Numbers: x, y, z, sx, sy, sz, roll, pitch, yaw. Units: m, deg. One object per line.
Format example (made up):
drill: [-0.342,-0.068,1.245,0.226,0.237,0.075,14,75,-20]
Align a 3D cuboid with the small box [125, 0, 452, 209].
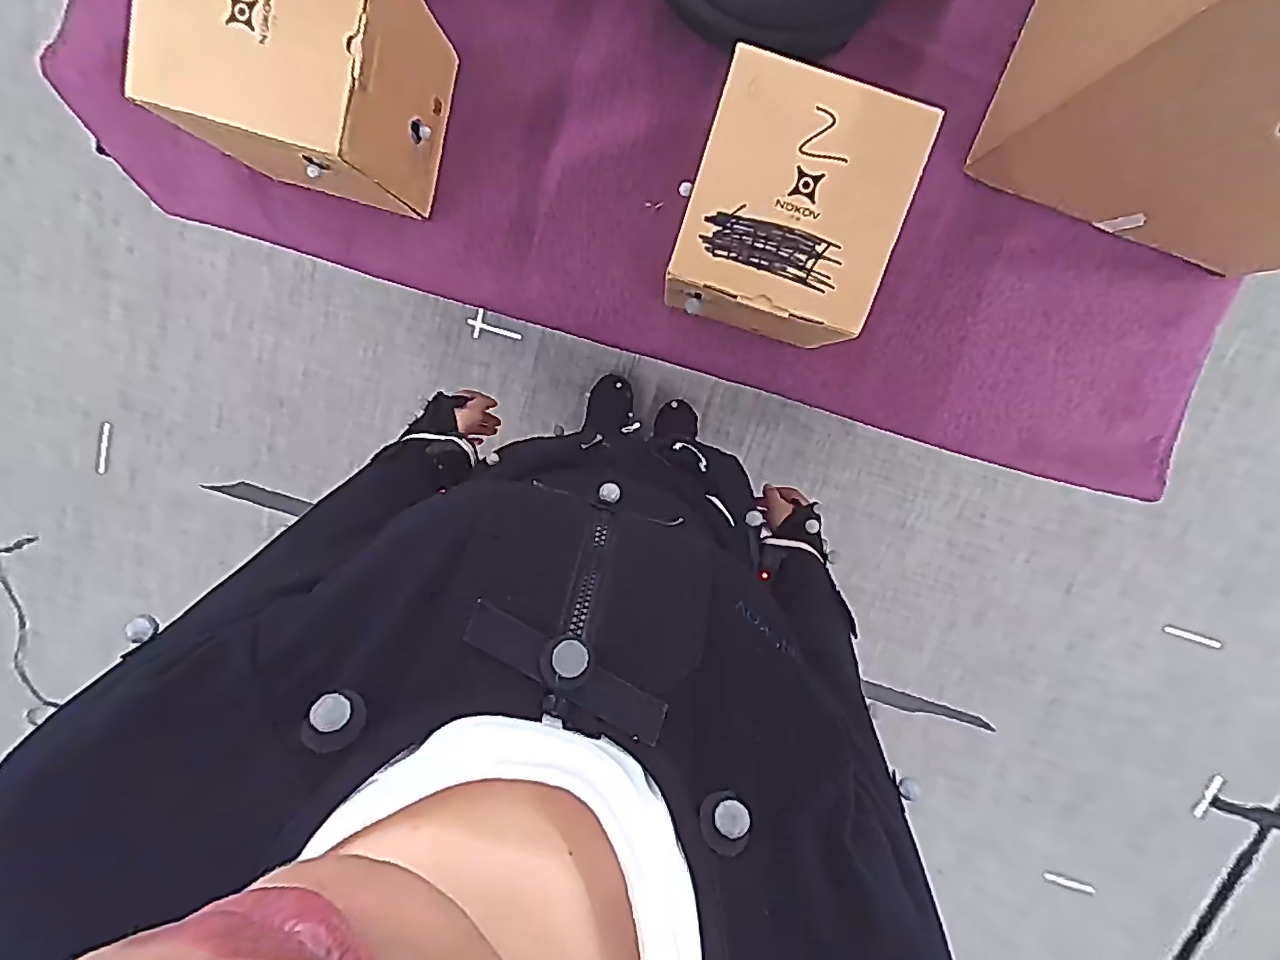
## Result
small box: [-0.297,-0.371,0.490,0.179,0.176,0.168,15,100,-2]
